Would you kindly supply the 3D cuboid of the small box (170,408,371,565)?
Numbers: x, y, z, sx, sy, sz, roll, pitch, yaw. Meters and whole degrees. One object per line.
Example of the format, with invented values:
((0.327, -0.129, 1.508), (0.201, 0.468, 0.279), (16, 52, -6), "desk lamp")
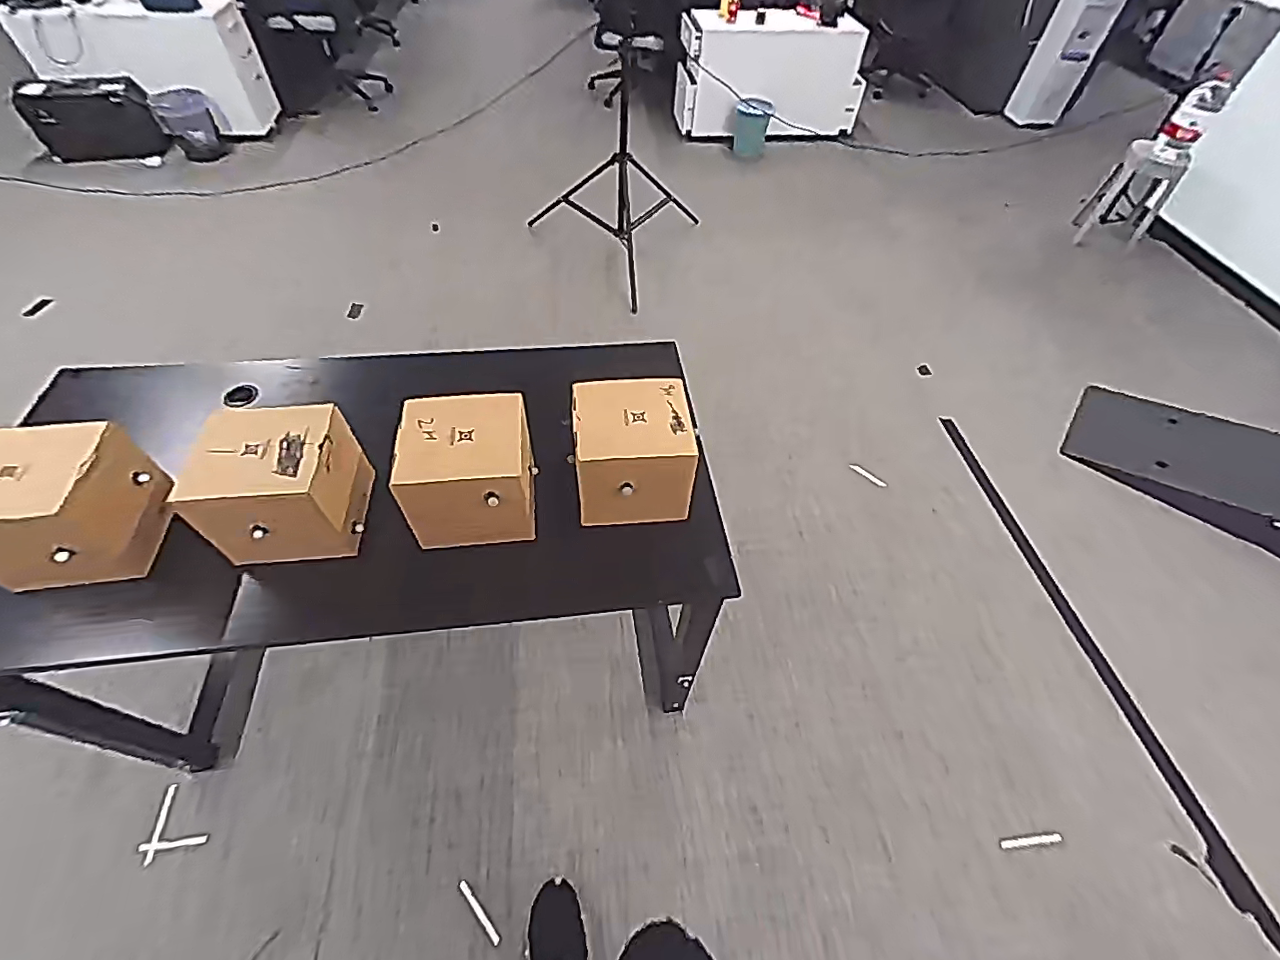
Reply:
((-0.529, 0.012, 0.810), (0.179, 0.176, 0.168), (-4, 53, -5), "small box")

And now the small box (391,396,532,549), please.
((-0.261, -0.009, 0.839), (0.179, 0.176, 0.168), (-5, 52, -7), "small box")

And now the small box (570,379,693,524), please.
((-0.016, -0.041, 0.877), (0.179, 0.176, 0.168), (-5, 53, -5), "small box")

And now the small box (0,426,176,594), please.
((-0.819, 0.045, 0.772), (0.179, 0.176, 0.168), (-7, 52, -8), "small box")
